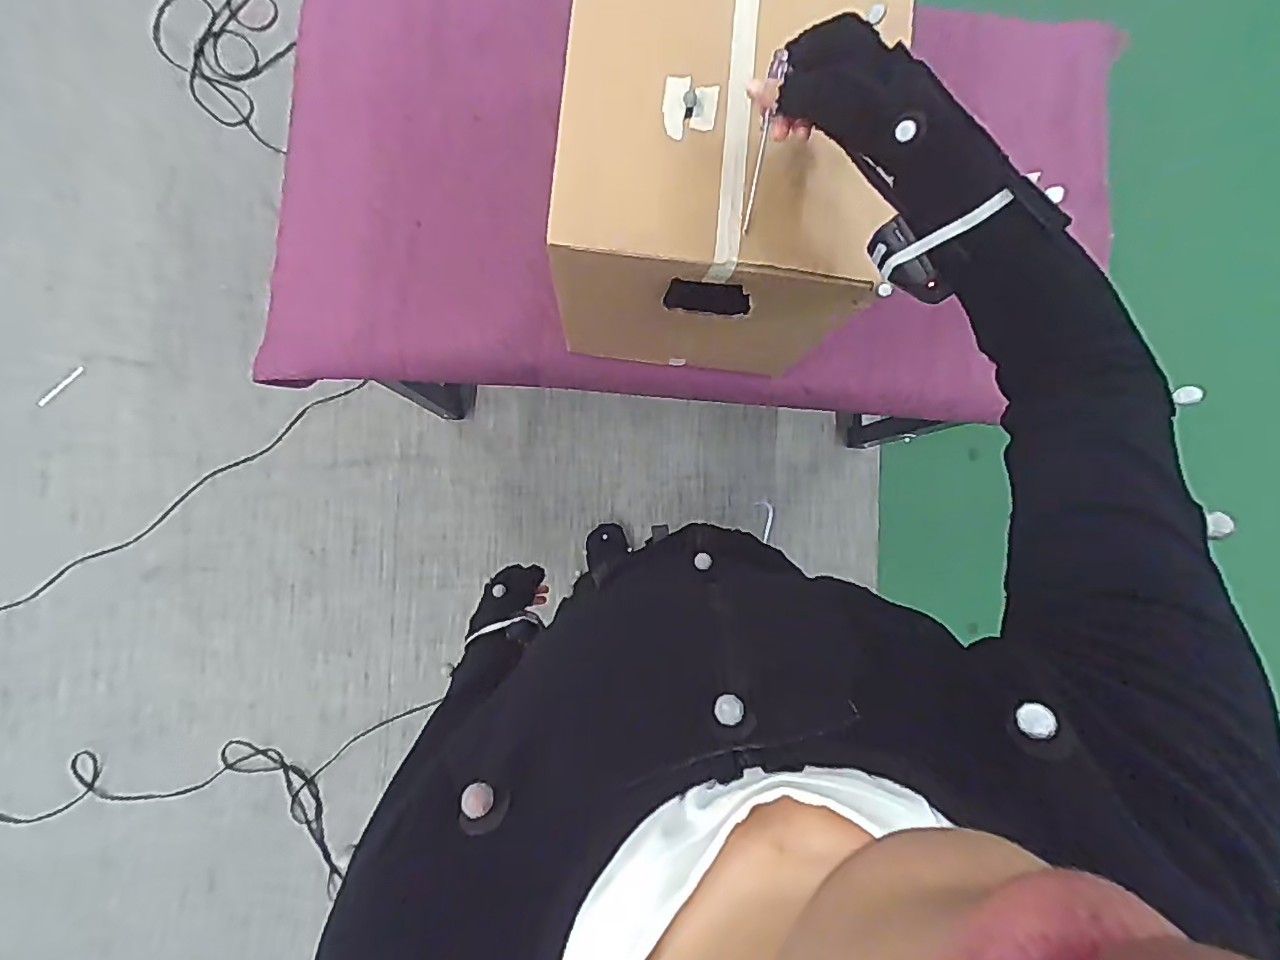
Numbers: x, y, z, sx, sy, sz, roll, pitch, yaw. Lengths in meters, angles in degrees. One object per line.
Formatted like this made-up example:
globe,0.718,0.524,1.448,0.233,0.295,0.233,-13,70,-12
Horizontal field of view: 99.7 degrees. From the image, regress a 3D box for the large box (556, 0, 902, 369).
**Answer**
large box,0.080,-0.382,0.652,0.320,0.320,0.408,6,87,-4
